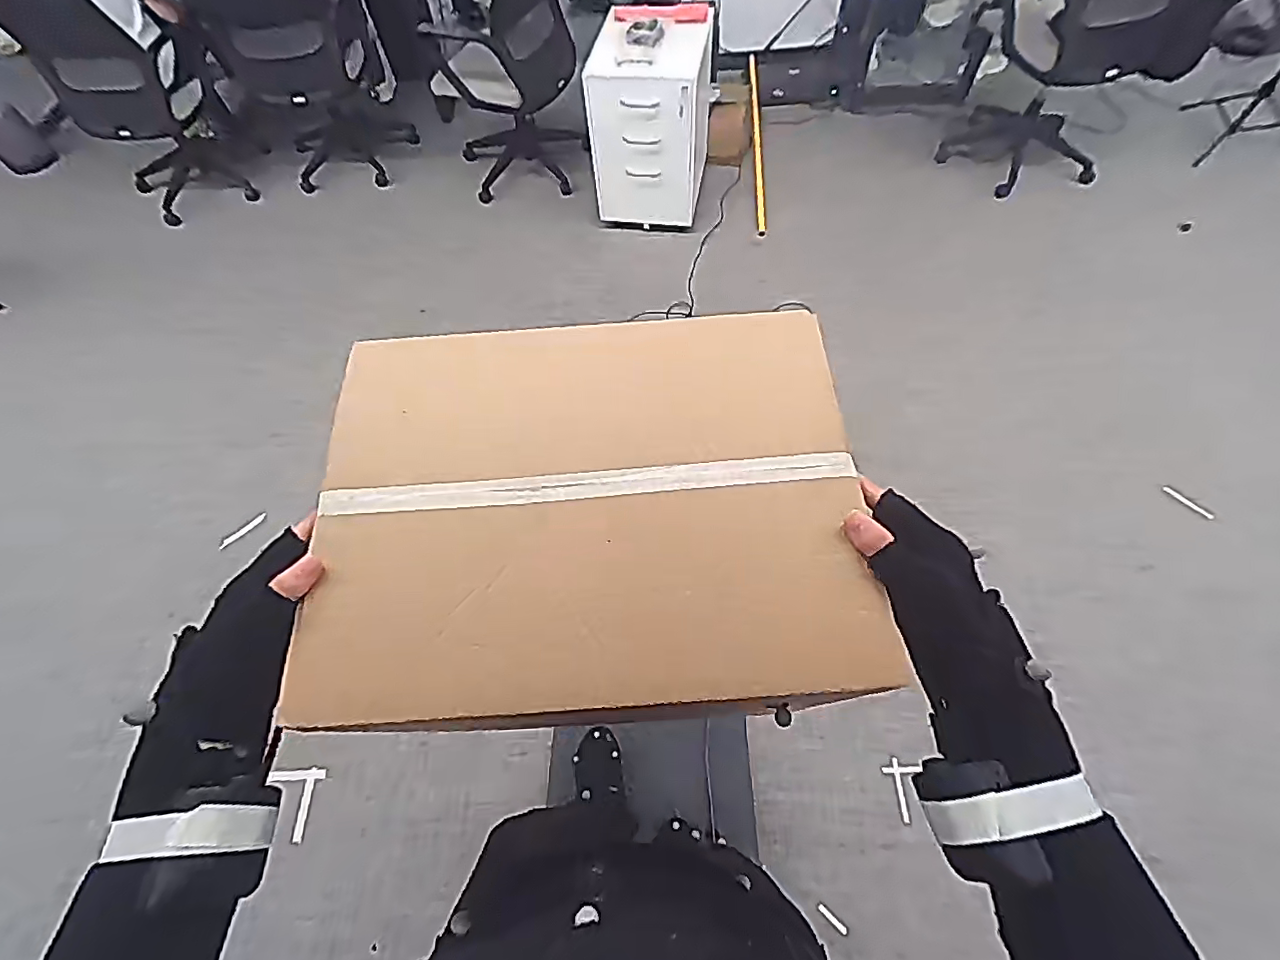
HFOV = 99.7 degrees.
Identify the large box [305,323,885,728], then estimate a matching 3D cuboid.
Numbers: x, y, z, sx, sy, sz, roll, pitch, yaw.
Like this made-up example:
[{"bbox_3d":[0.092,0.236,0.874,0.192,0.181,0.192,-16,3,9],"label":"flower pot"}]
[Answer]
[{"bbox_3d":[-0.034,0.073,0.561,0.408,0.320,0.320,-4,64,1],"label":"large box"}]
